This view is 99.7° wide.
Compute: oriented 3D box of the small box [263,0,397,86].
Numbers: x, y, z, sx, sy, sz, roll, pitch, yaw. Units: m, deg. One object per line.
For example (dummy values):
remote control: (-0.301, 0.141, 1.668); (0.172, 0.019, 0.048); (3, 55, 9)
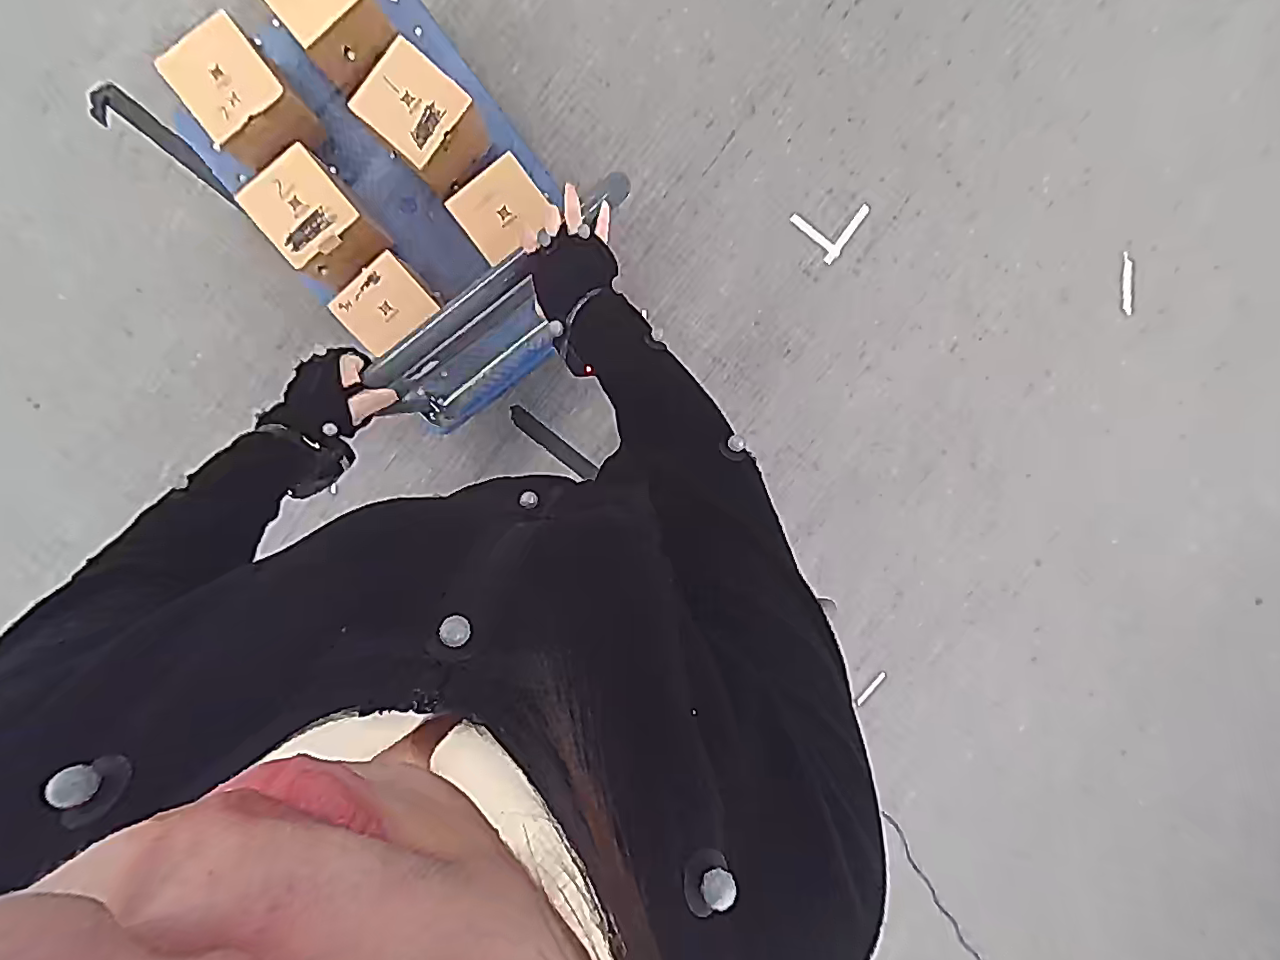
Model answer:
small box: (-0.615, -0.923, 1.059); (0.168, 0.176, 0.179); (-41, 98, 3)

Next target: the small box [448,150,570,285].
small box: (-0.262, -0.533, 1.132); (0.168, 0.176, 0.179); (-38, 97, 2)

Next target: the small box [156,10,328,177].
small box: (-0.774, -0.750, 1.072); (0.168, 0.176, 0.179); (-37, 99, 2)

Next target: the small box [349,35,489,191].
small box: (-0.433, -0.723, 1.096); (0.179, 0.176, 0.168); (39, 94, -6)

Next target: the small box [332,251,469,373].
small box: (-0.492, -0.344, 1.143); (0.168, 0.176, 0.179); (-42, 98, 2)
